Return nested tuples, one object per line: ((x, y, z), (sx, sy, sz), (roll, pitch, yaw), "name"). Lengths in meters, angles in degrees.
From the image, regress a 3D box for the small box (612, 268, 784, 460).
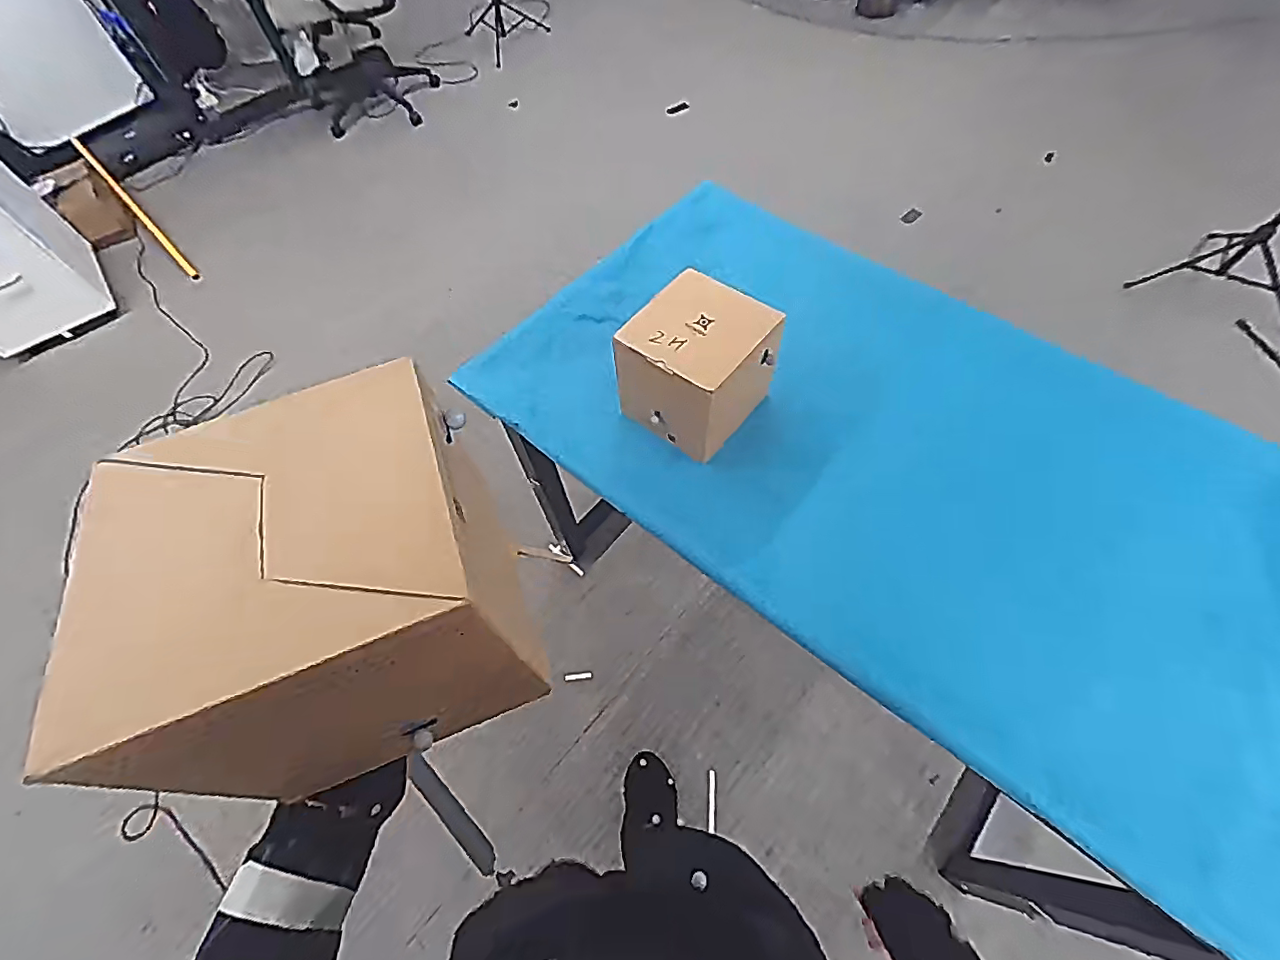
((0.082, -0.165, 0.791), (0.168, 0.176, 0.179), (38, 72, 23), "small box")

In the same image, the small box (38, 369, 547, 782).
((-0.178, 0.059, 0.328), (0.179, 0.176, 0.168), (-21, 57, -7), "small box")
